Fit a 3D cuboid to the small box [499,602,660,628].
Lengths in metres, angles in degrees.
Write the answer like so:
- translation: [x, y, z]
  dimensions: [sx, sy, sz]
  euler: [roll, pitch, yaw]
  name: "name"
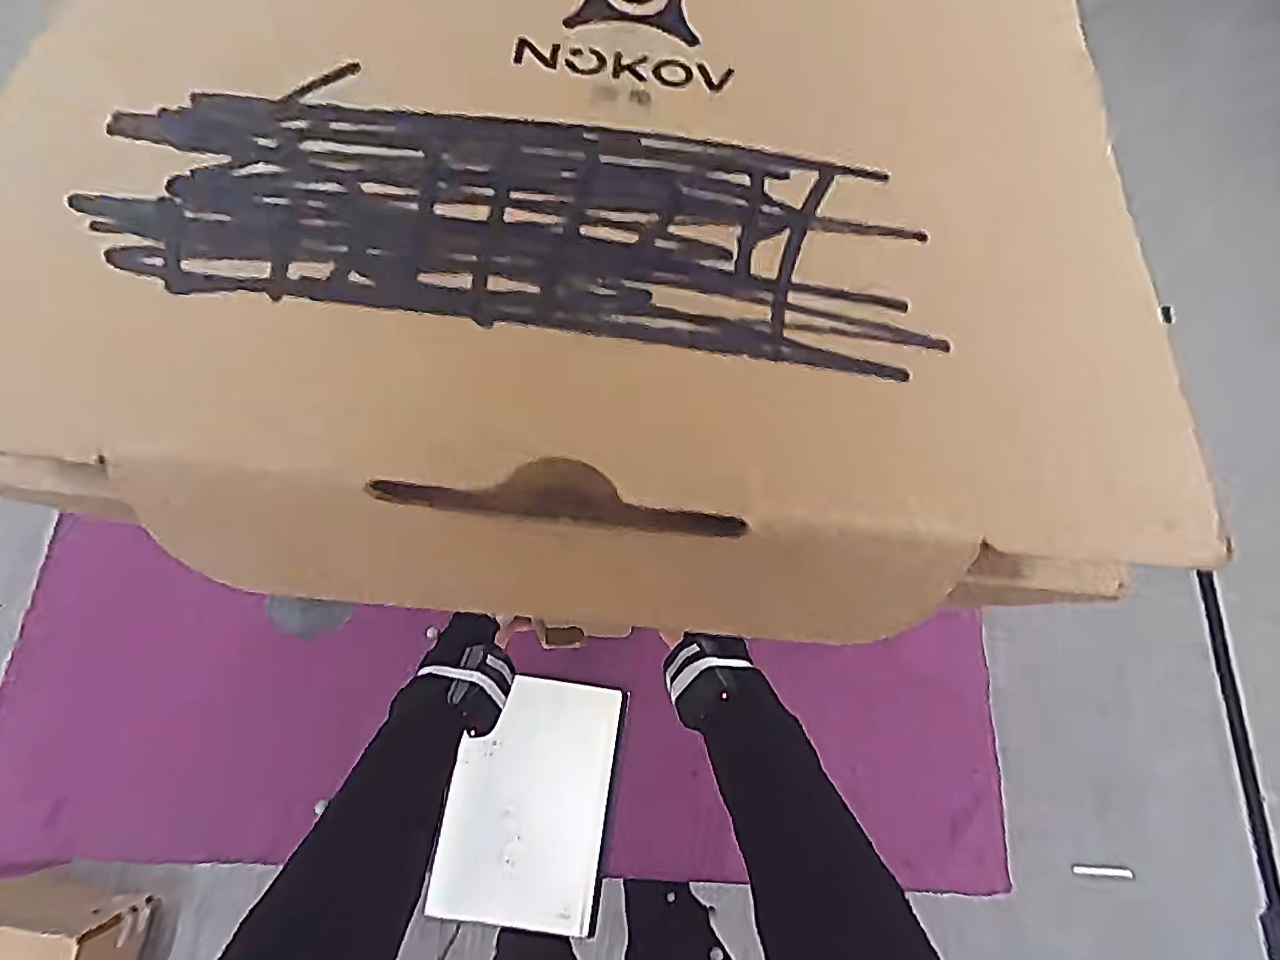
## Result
- translation: [-0.058, 0.077, 0.639]
  dimensions: [0.168, 0.176, 0.179]
  euler: [6, 74, -3]
  name: "small box"
